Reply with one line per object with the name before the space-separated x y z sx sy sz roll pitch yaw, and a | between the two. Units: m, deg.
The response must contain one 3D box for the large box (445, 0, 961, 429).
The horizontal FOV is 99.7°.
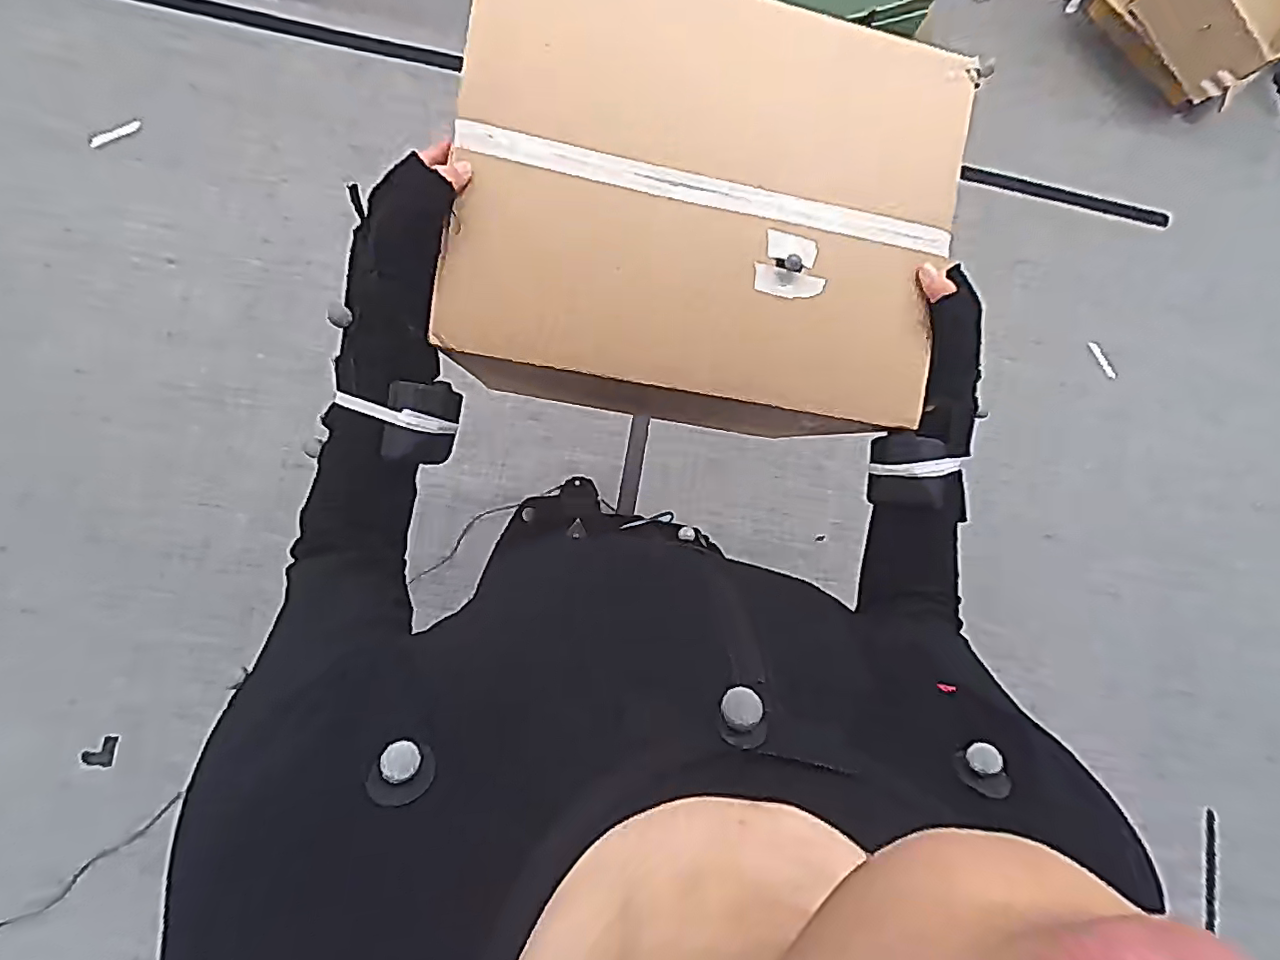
large box | 0.038 -0.238 0.585 0.408 0.320 0.320 8 93 -9
